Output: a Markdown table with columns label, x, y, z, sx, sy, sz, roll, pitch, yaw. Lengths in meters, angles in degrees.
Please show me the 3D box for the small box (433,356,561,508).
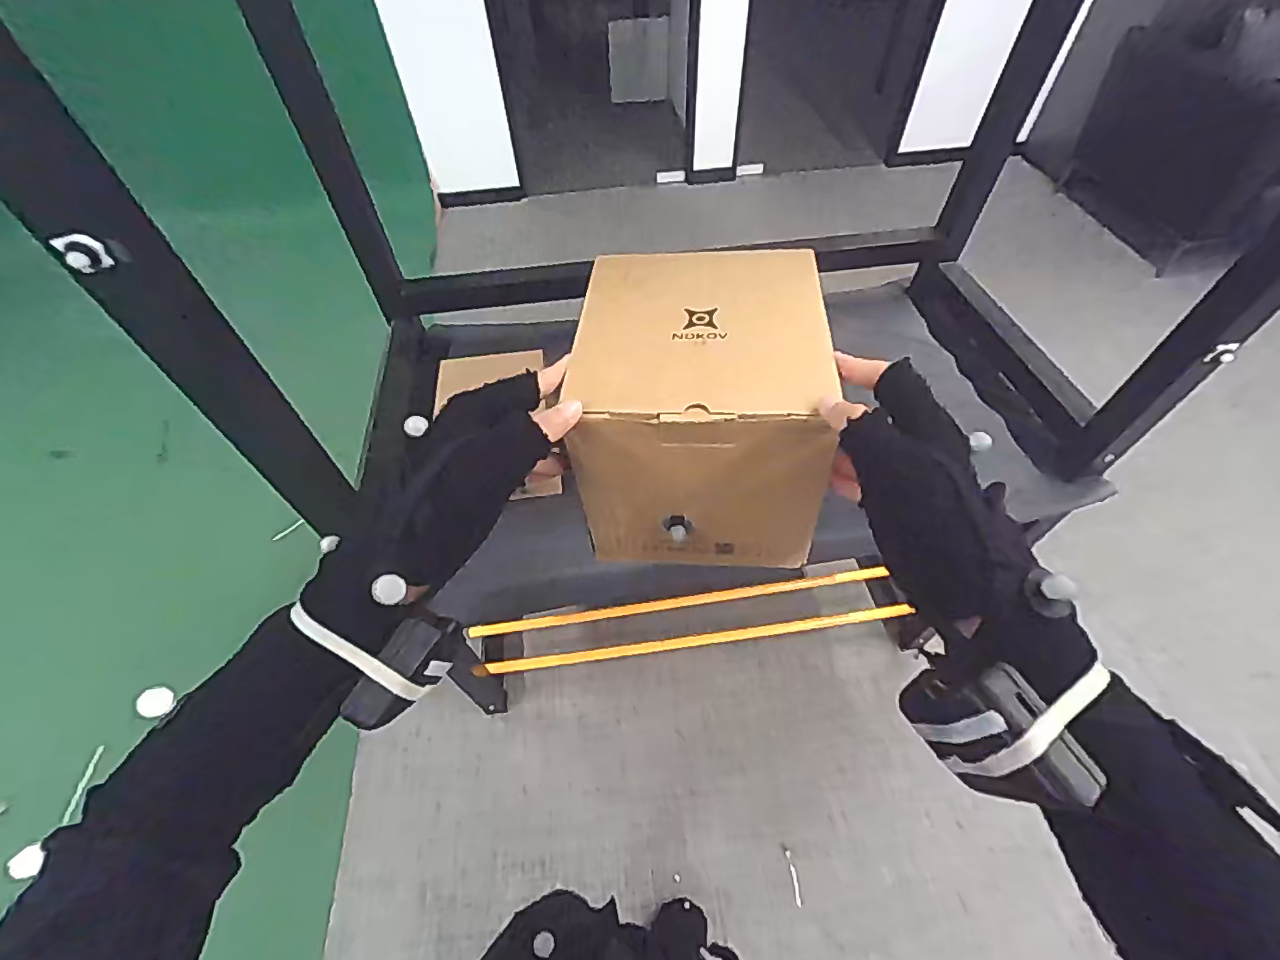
| label | x | y | z | sx | sy | sz | roll | pitch | yaw |
| --- | --- | --- | --- | --- | --- | --- | --- | --- | --- |
| small box | -0.224 | -0.078 | 0.889 | 0.168 | 0.176 | 0.179 | -7 | 52 | -4 |
